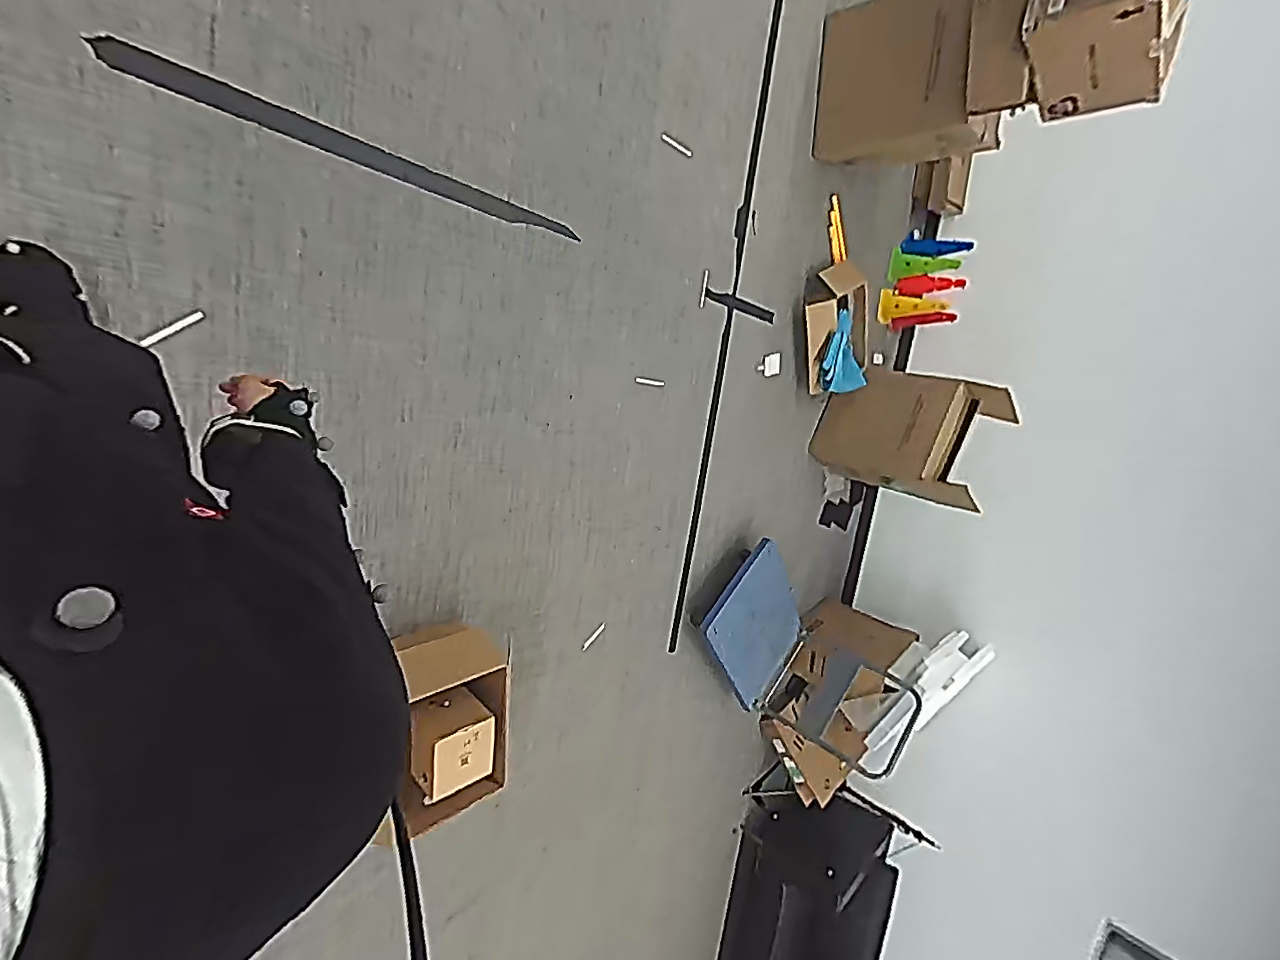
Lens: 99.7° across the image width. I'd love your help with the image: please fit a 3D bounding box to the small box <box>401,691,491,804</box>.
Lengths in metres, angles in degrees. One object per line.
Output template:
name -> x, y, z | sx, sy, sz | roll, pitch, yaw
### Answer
small box -> -0.511, 0.690, 1.418 | 0.168, 0.176, 0.179 | -6, 107, -46
